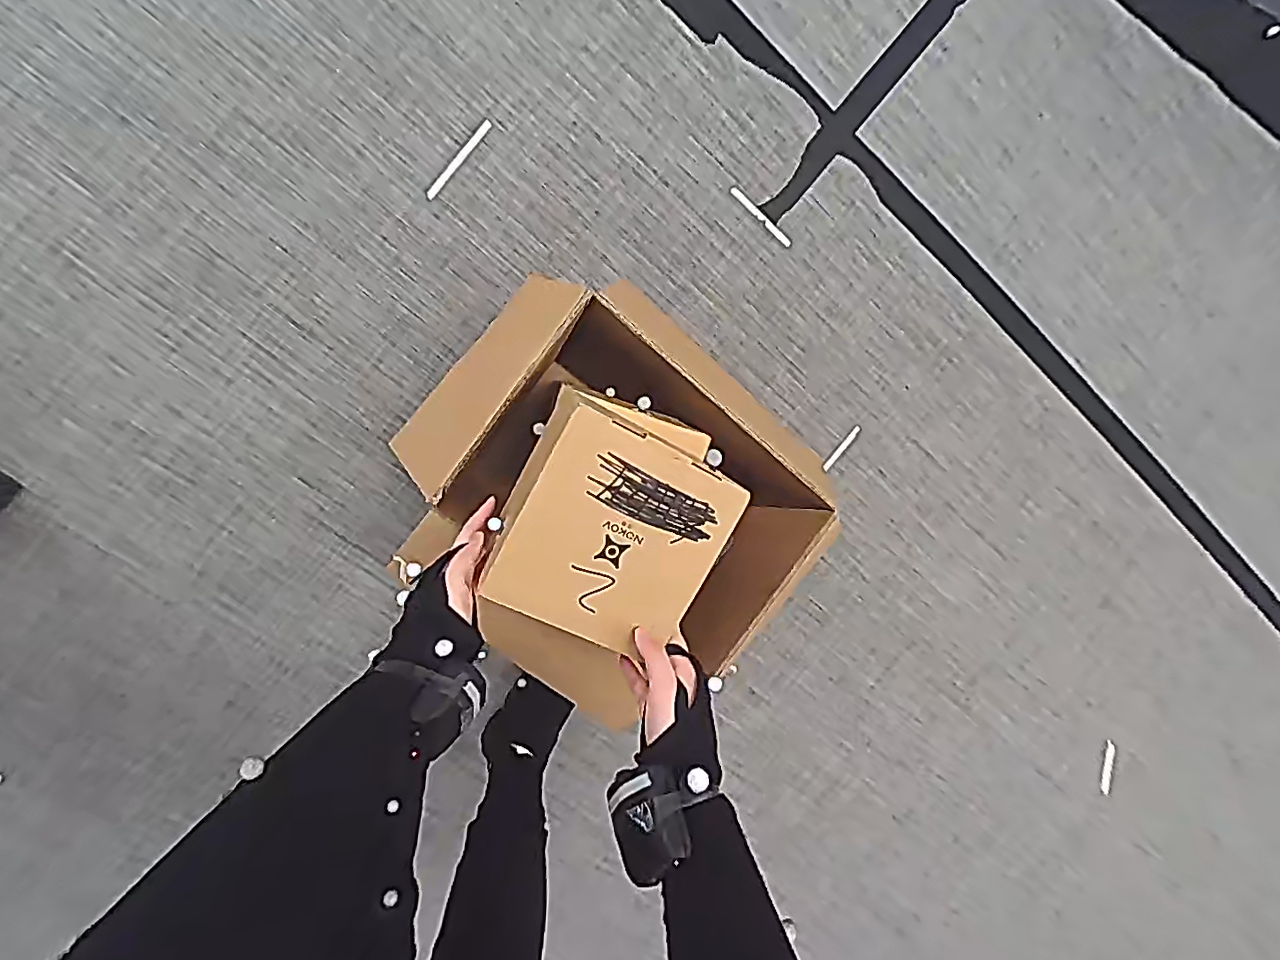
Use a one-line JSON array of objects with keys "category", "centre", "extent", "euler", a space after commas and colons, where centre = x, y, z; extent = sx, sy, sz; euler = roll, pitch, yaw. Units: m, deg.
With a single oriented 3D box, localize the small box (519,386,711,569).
[{"category": "small box", "centre": [-0.040, -0.012, 0.675], "extent": [0.179, 0.176, 0.168], "euler": [17, 99, -14]}]
